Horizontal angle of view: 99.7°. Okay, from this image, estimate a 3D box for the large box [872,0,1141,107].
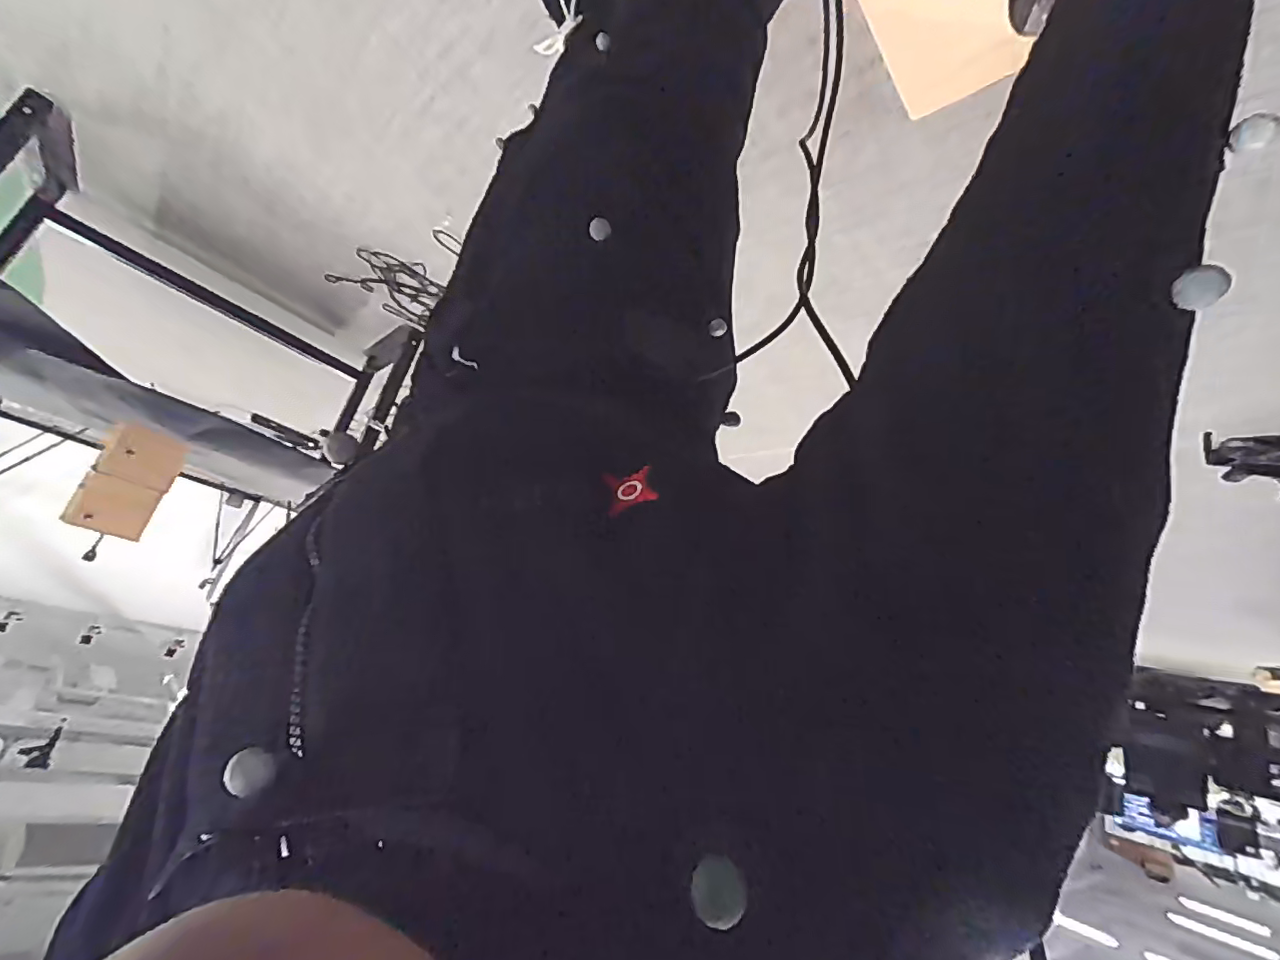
[{"bbox_3d":[0.353,-0.681,0.484,0.320,0.320,0.408,-4,155,46],"label":"large box"}]

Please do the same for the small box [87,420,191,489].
[{"bbox_3d":[-1.580,-0.081,1.710,0.168,0.176,0.179,2,159,38],"label":"small box"}]

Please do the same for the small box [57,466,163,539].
[{"bbox_3d":[-1.625,0.068,1.664,0.168,0.176,0.179,2,158,38],"label":"small box"}]
